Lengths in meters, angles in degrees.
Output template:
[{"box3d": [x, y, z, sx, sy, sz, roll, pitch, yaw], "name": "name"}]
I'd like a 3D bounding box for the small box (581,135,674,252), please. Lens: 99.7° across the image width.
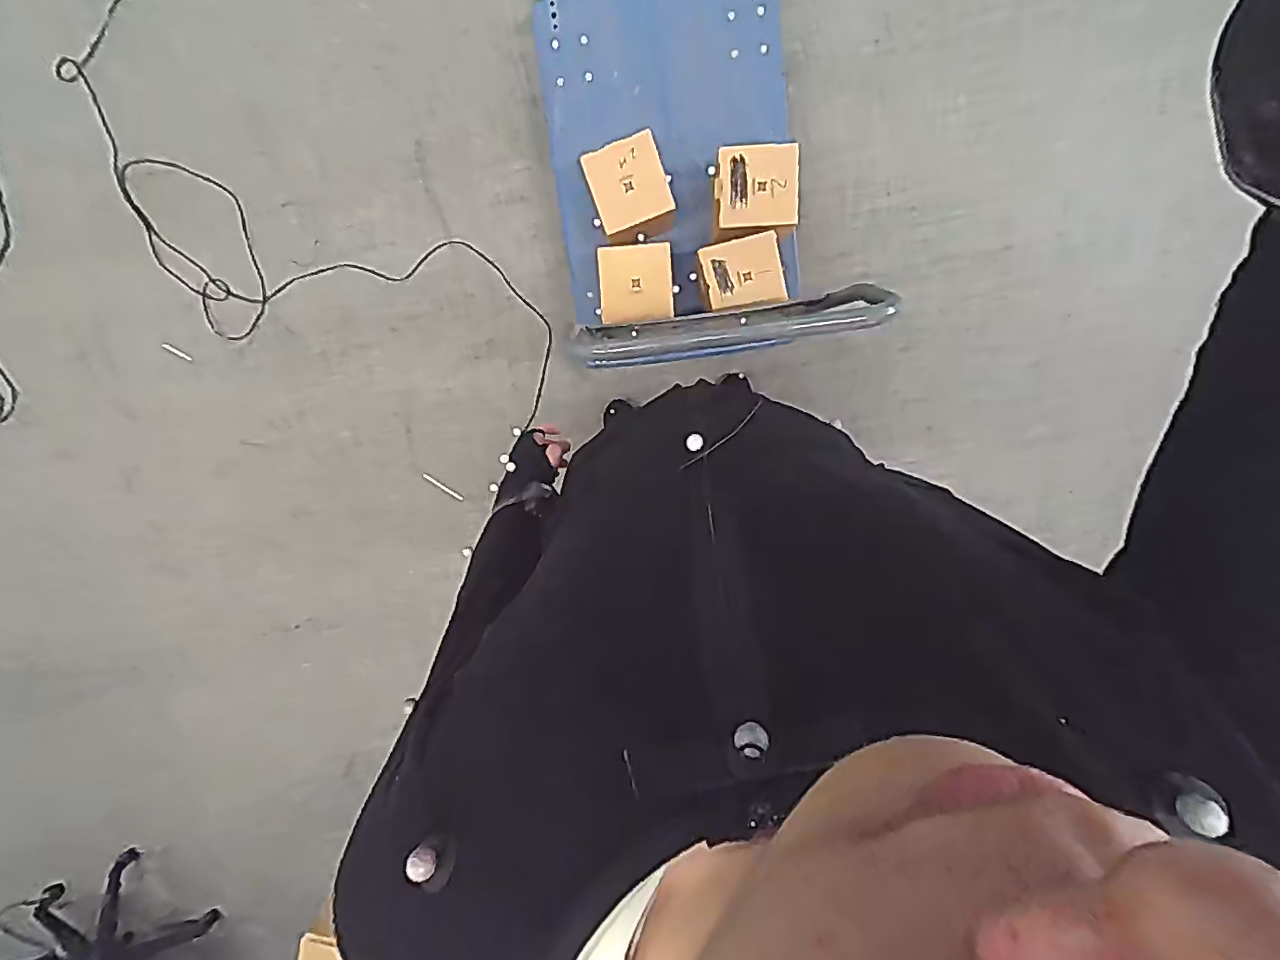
[{"box3d": [-0.024, -0.653, 1.262, 0.168, 0.176, 0.179, -19, 98, 3], "name": "small box"}]
